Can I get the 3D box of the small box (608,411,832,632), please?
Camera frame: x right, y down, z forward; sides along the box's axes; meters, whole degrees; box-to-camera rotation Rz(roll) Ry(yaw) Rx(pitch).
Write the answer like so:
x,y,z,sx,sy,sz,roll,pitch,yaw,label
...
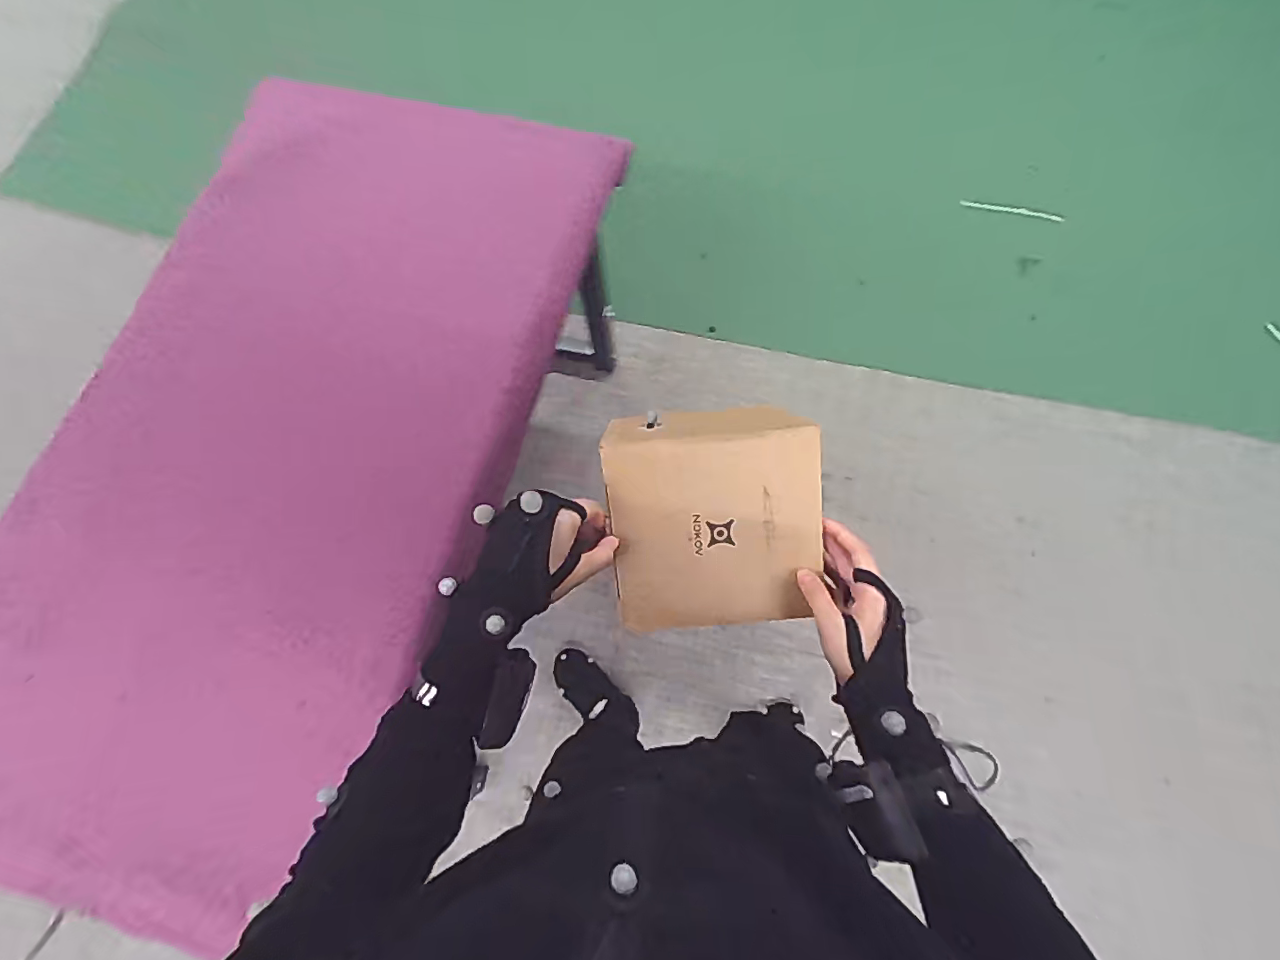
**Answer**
x,y,z,sx,sy,sz,roll,pitch,yaw,label
0.068,0.027,0.513,0.179,0.176,0.168,-4,102,1,small box
